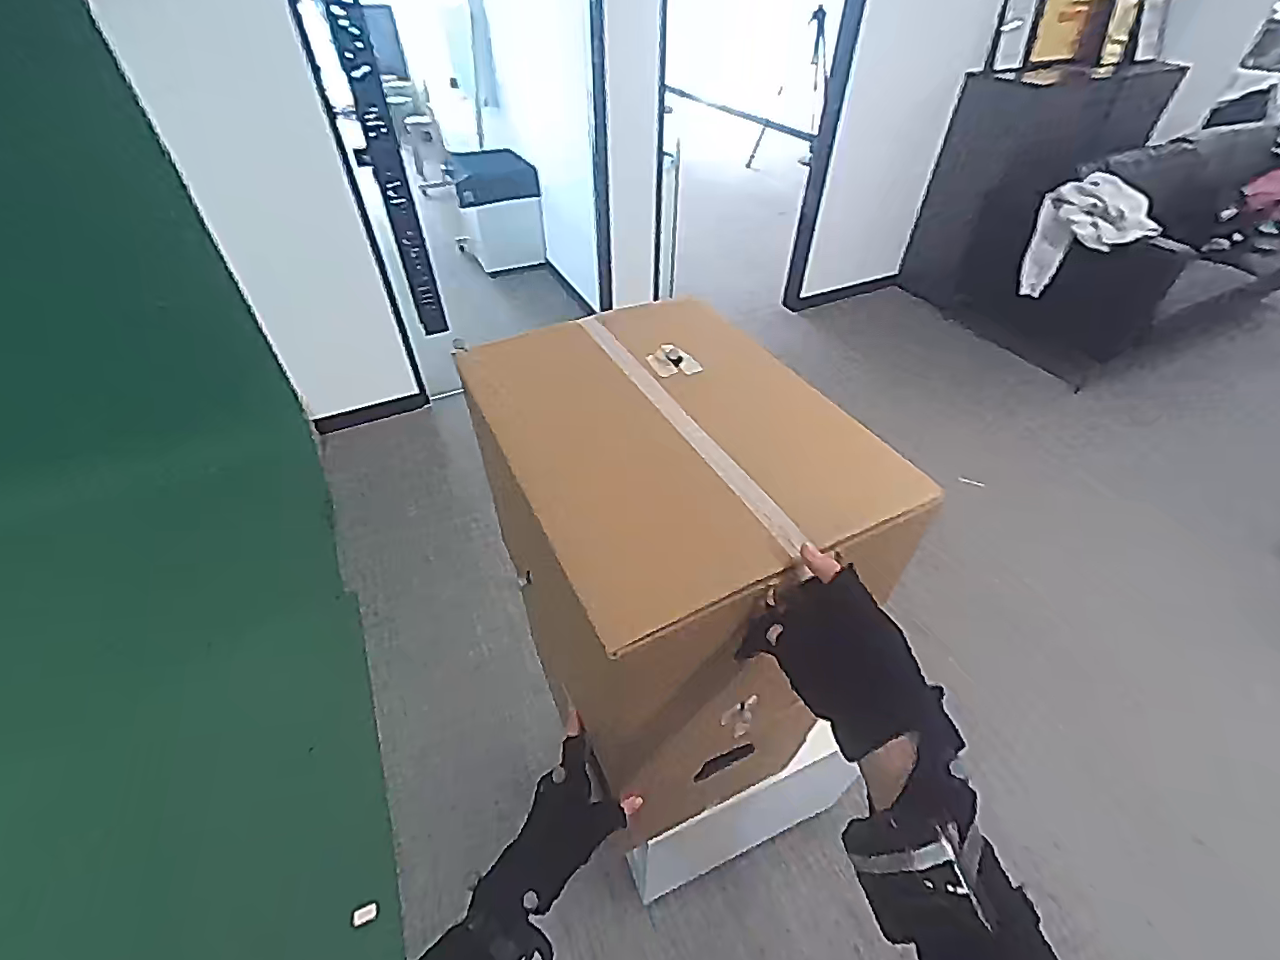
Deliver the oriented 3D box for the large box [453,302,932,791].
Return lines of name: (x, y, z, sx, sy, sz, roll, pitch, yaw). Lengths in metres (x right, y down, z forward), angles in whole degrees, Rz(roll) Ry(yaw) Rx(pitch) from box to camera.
large box: (0.022, 0.047, 0.624, 0.320, 0.320, 0.408, -19, 47, -20)
